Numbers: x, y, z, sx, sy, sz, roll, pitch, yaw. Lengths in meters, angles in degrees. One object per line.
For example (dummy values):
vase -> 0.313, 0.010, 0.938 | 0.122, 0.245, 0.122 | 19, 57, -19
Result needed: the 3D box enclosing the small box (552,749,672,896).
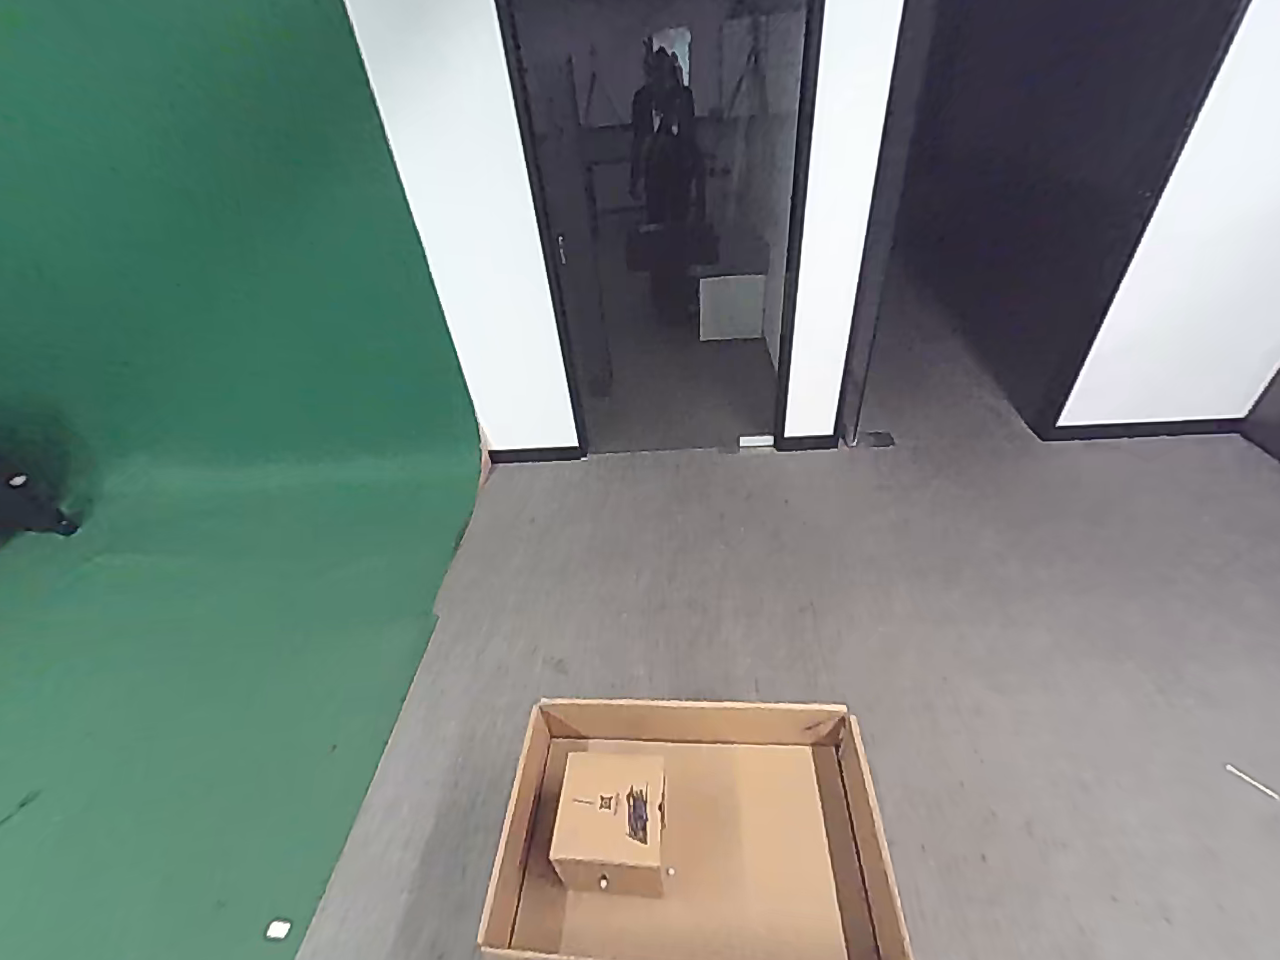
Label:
small box -> -0.036, 0.592, 0.934 | 0.179, 0.176, 0.168 | -1, 38, 8
